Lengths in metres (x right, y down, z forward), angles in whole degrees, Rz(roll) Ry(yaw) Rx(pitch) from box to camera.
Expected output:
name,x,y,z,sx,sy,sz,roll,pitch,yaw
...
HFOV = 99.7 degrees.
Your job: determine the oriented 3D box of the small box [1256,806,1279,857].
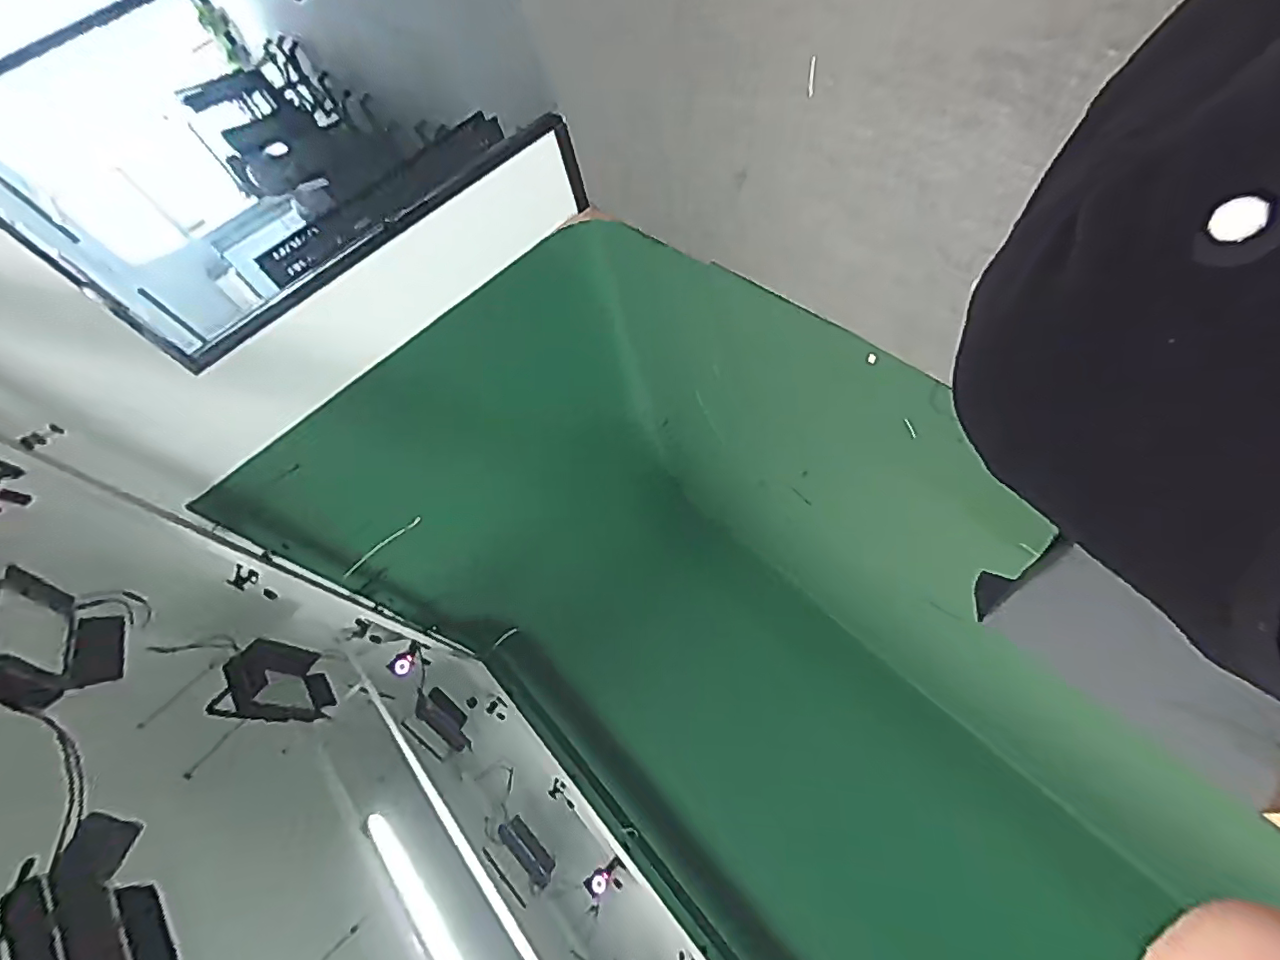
name,x,y,z,sx,sy,sz,roll,pitch,yaw
small box,1.219,0.605,0.896,0.168,0.176,0.179,42,166,30
